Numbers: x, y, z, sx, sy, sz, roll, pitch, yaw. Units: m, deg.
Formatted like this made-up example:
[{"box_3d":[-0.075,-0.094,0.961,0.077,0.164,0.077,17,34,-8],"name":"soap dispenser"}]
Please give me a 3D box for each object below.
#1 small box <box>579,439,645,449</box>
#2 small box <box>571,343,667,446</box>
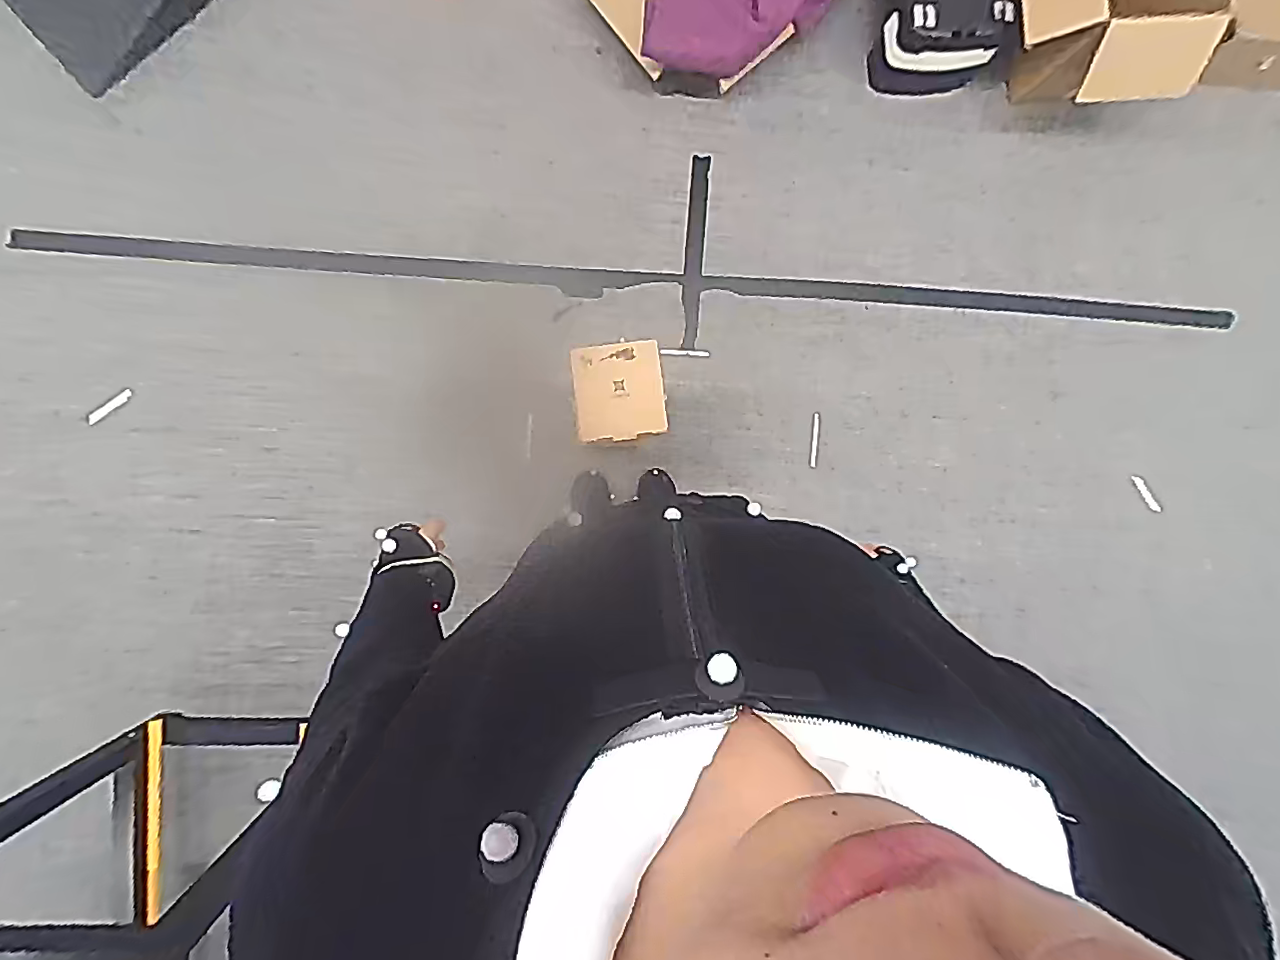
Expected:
[{"box_3d":[-0.071,-0.169,1.409,0.168,0.176,0.179,0,94,-2],"name":"small box"},{"box_3d":[-0.040,-0.164,1.081,0.168,0.176,0.179,-7,93,-2],"name":"small box"}]
